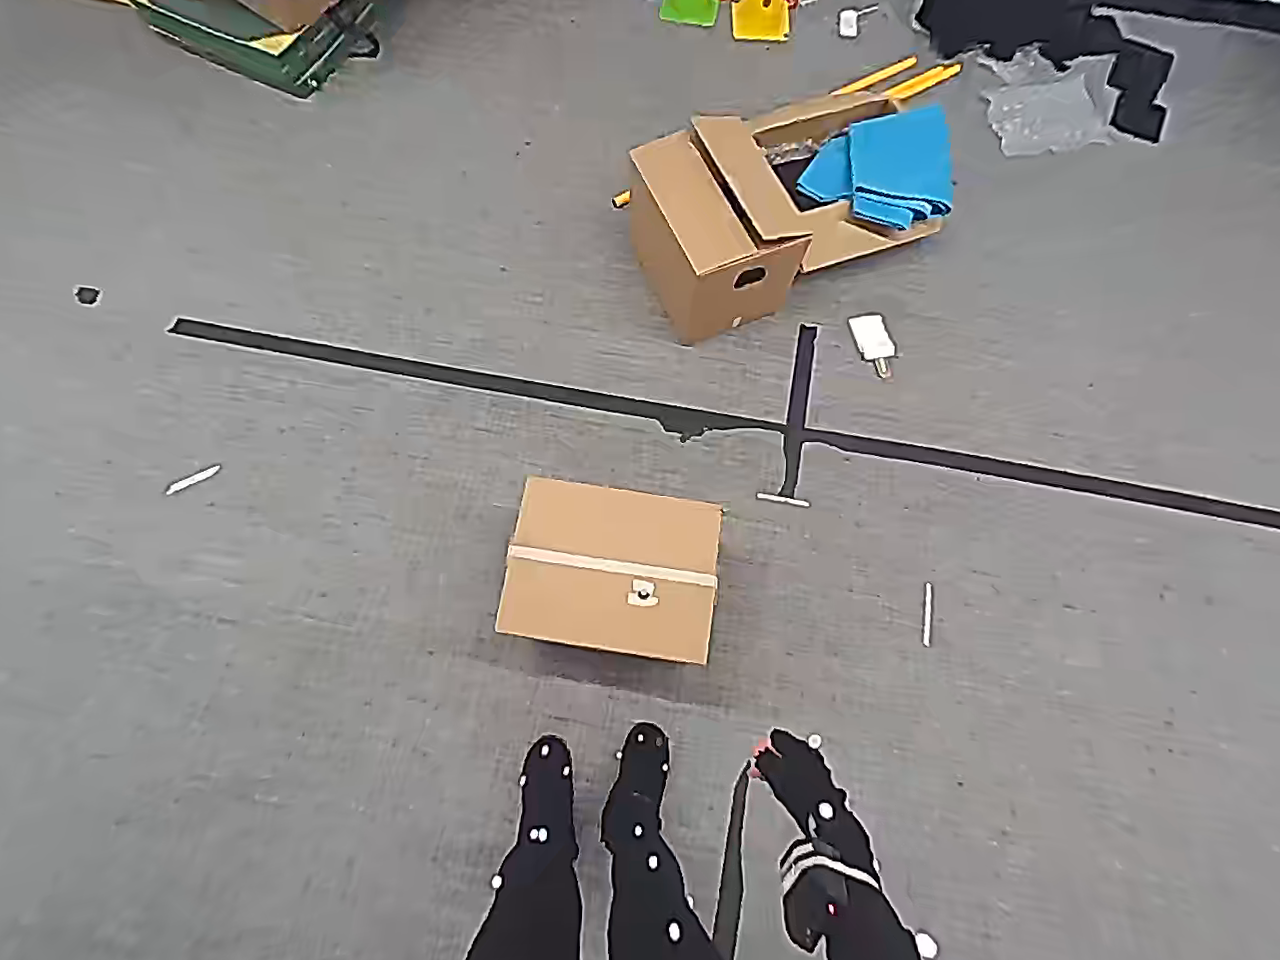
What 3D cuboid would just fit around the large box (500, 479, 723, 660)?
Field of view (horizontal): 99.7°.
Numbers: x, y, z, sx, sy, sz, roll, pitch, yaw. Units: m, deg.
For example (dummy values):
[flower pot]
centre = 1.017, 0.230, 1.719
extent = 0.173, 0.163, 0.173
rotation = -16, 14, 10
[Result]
[large box]
centre = -0.053, 0.210, 1.186
extent = 0.408, 0.320, 0.320
rotation = 8, 73, 1
